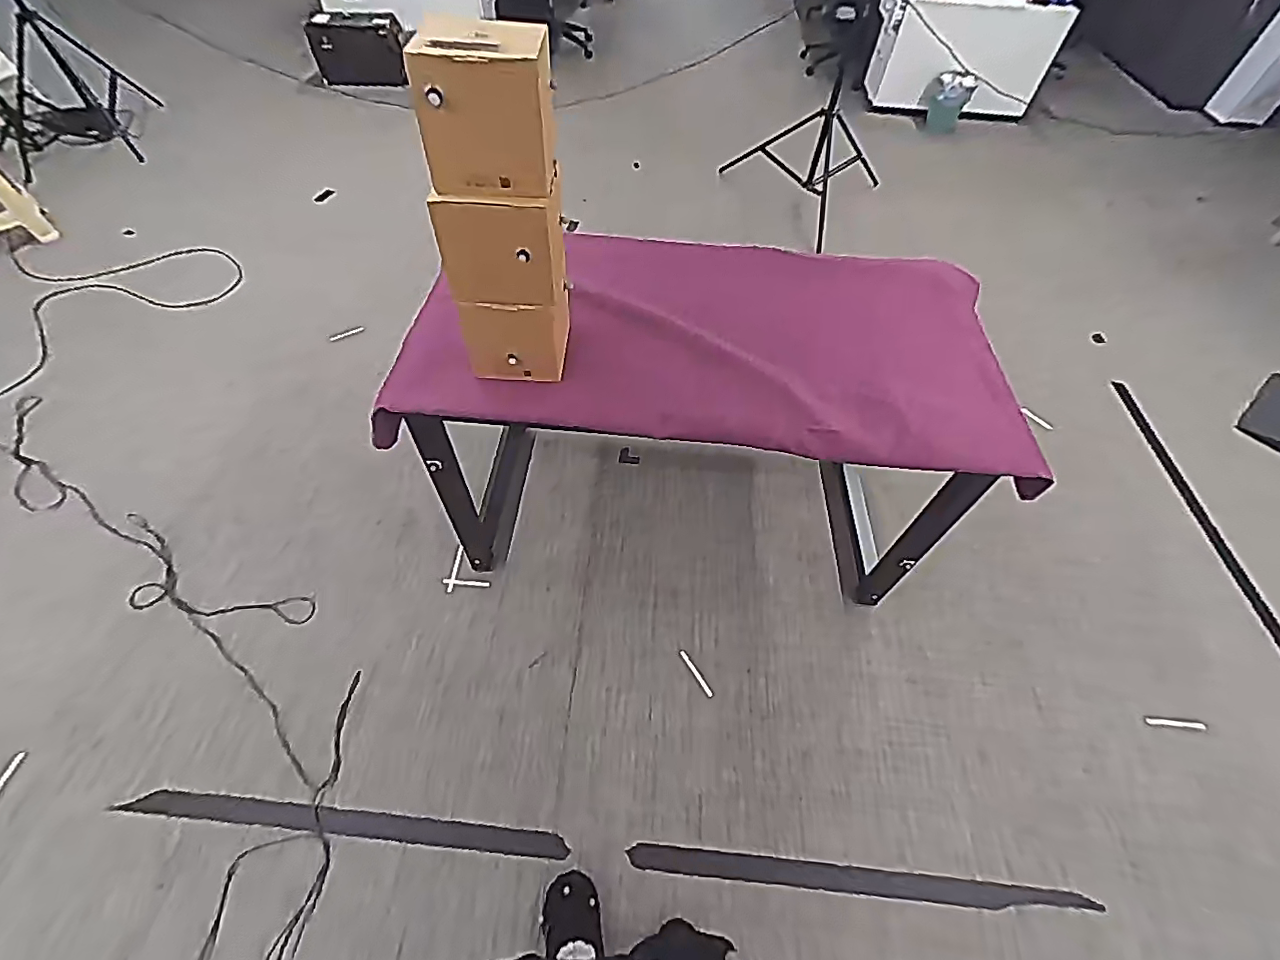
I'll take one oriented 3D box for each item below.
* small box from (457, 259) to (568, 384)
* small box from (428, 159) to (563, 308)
[{"bbox_3d":[-0.230,-0.306,1.024,0.168,0.176,0.179,2,54,-1],"label":"small box"},{"bbox_3d":[-0.224,-0.403,0.895,0.179,0.176,0.168,1,52,-1],"label":"small box"}]
